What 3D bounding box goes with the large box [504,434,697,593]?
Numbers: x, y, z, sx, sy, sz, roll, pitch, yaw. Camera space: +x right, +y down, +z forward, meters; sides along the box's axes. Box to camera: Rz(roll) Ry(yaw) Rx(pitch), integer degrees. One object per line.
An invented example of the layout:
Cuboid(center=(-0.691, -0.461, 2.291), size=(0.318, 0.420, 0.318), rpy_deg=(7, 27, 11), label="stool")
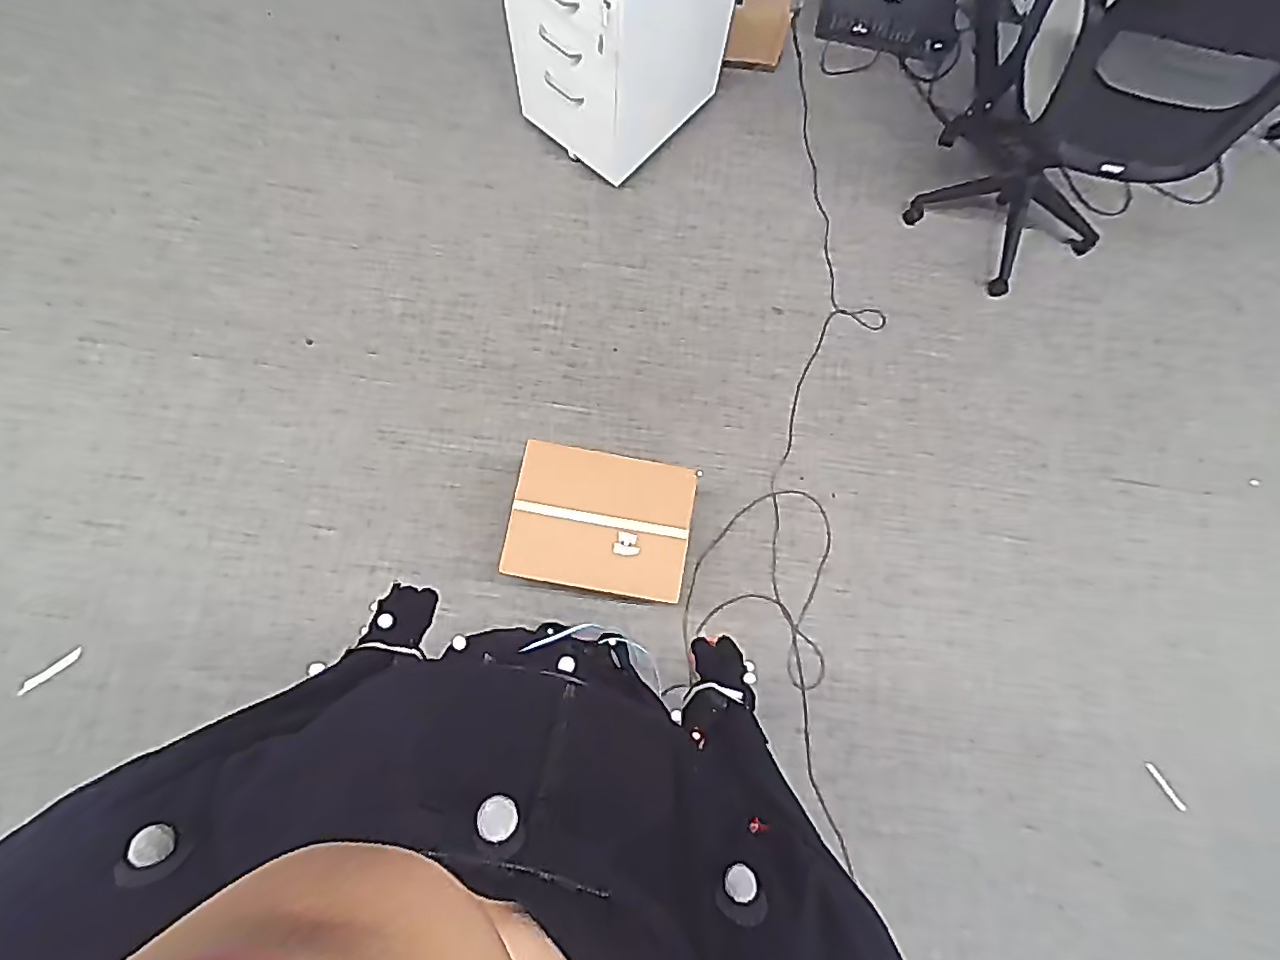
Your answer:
Cuboid(center=(-0.098, 0.101, 1.376), size=(0.408, 0.320, 0.320), rpy_deg=(11, 78, -3), label="large box")
